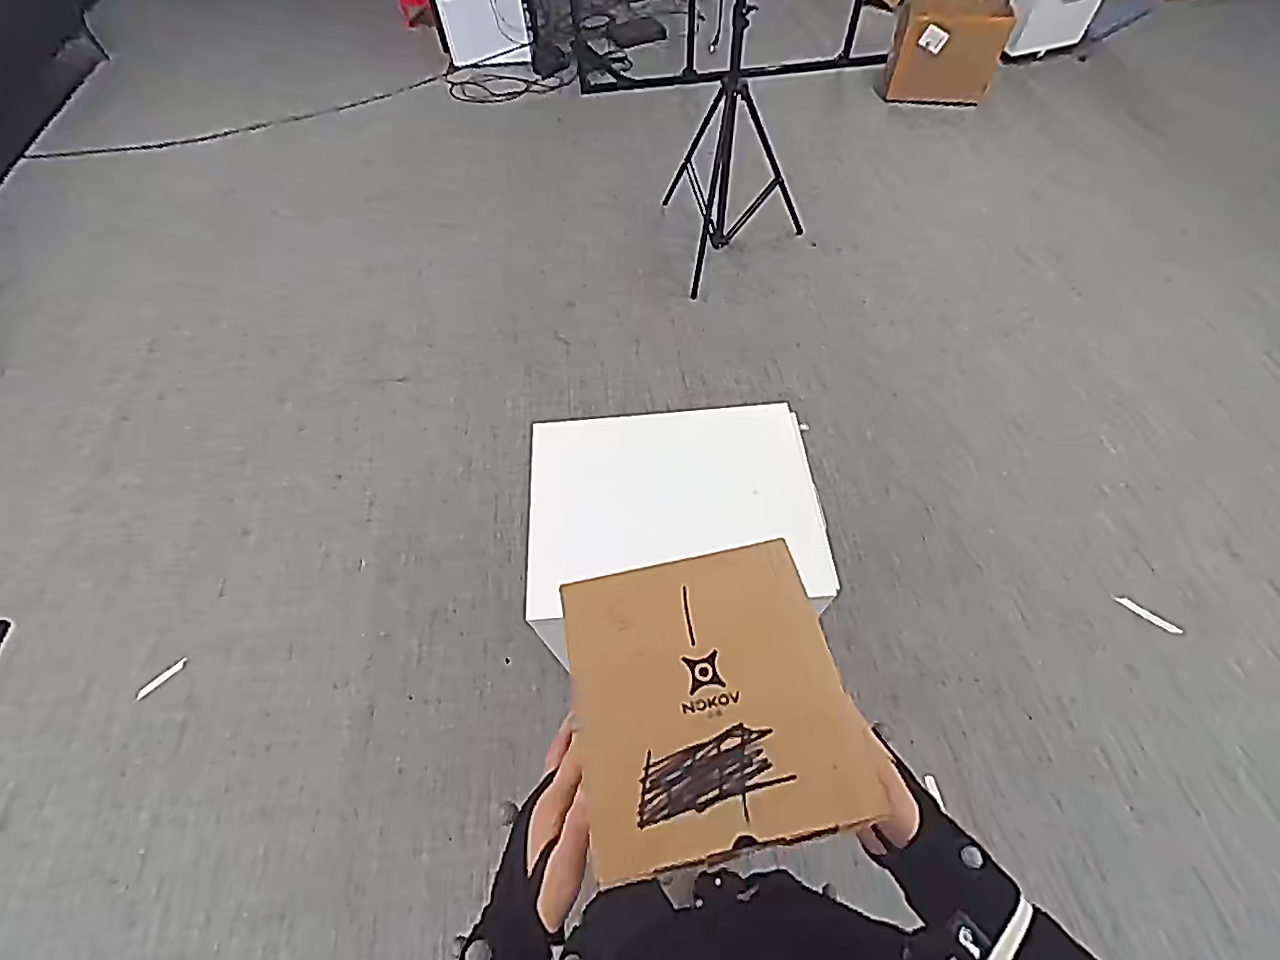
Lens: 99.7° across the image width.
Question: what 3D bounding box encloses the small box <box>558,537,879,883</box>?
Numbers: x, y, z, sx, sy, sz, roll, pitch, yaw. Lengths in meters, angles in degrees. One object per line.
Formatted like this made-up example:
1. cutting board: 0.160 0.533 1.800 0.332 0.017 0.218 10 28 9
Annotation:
1. small box: 0.043 0.169 0.403 0.168 0.176 0.179 -11 57 -3
